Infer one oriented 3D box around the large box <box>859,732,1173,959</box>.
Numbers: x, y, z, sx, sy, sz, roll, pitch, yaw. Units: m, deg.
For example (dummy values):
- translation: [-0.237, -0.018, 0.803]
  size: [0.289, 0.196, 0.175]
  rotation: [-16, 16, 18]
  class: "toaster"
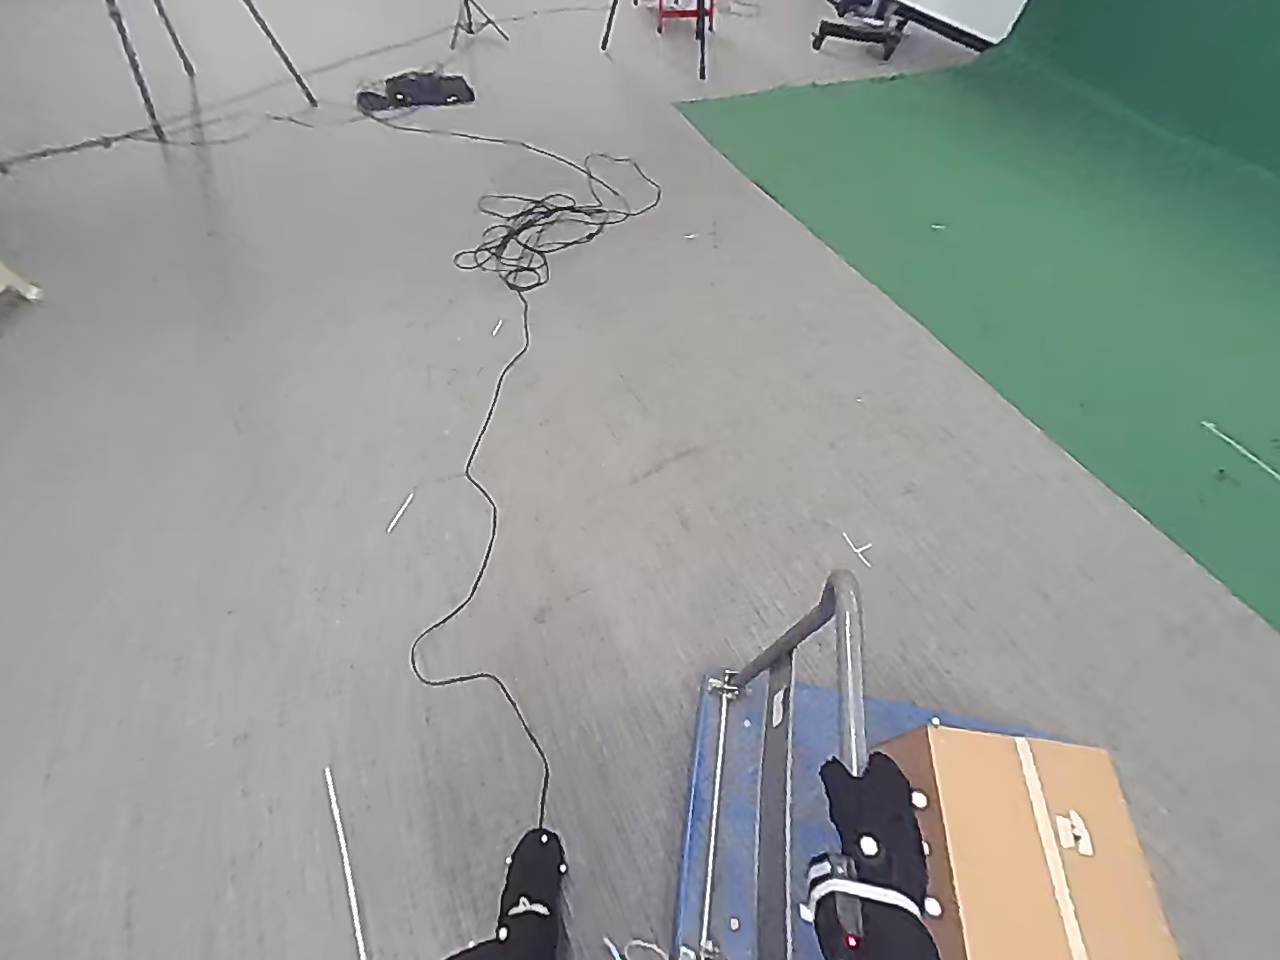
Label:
- translation: [0.608, 0.699, 0.933]
  size: [0.320, 0.320, 0.408]
  rotation: [8, 54, 0]
  class: "large box"
